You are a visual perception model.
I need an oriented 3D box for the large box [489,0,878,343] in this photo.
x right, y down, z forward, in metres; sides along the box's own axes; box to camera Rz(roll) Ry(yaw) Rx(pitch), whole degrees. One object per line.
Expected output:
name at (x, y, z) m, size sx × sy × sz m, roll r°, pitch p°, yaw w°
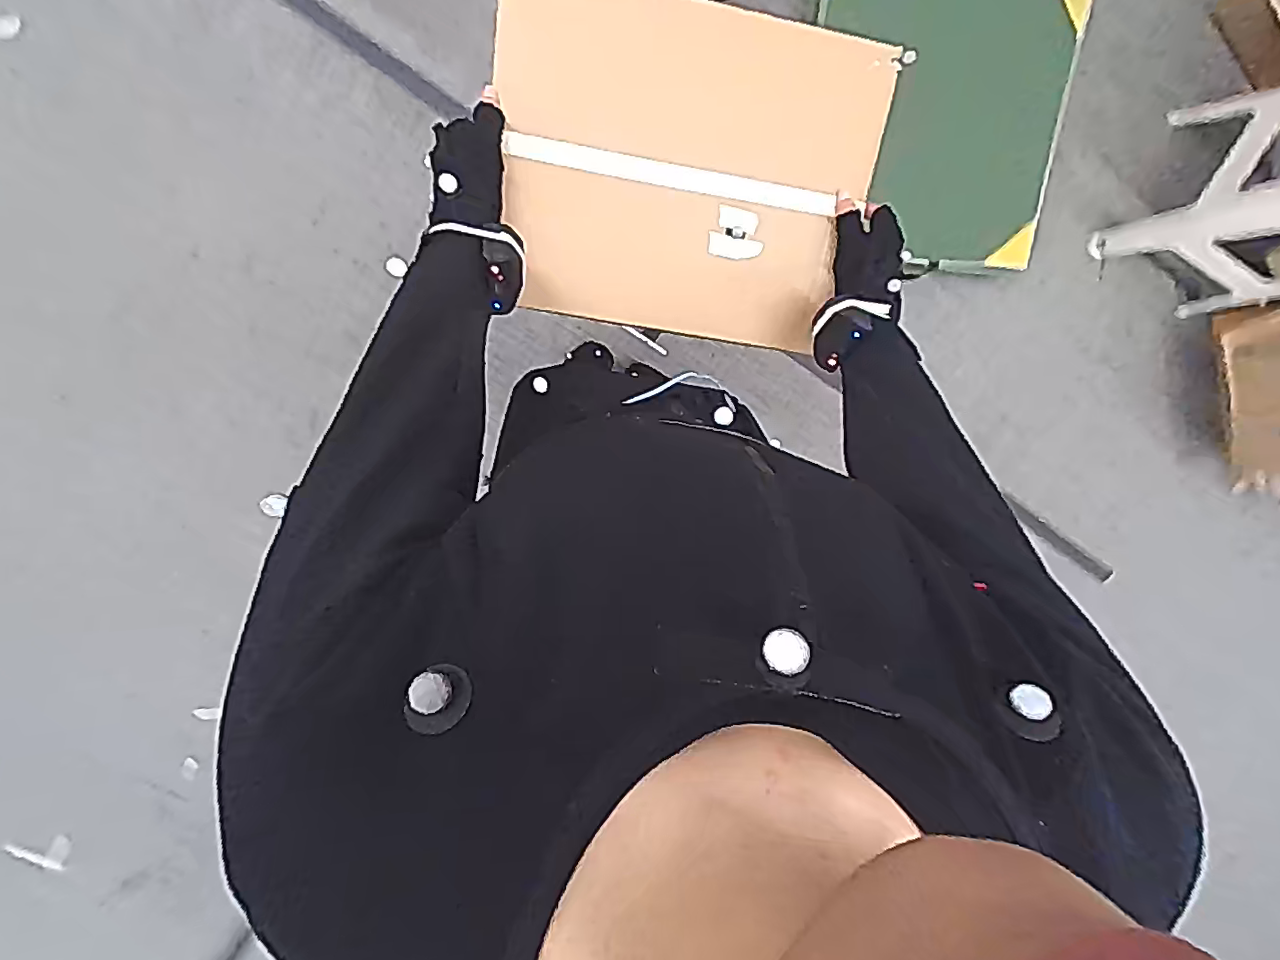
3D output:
large box at (0.025, -0.371, 0.732) m, size 0.408 × 0.320 × 0.320 m, roll 6°, pitch 107°, yaw -8°
